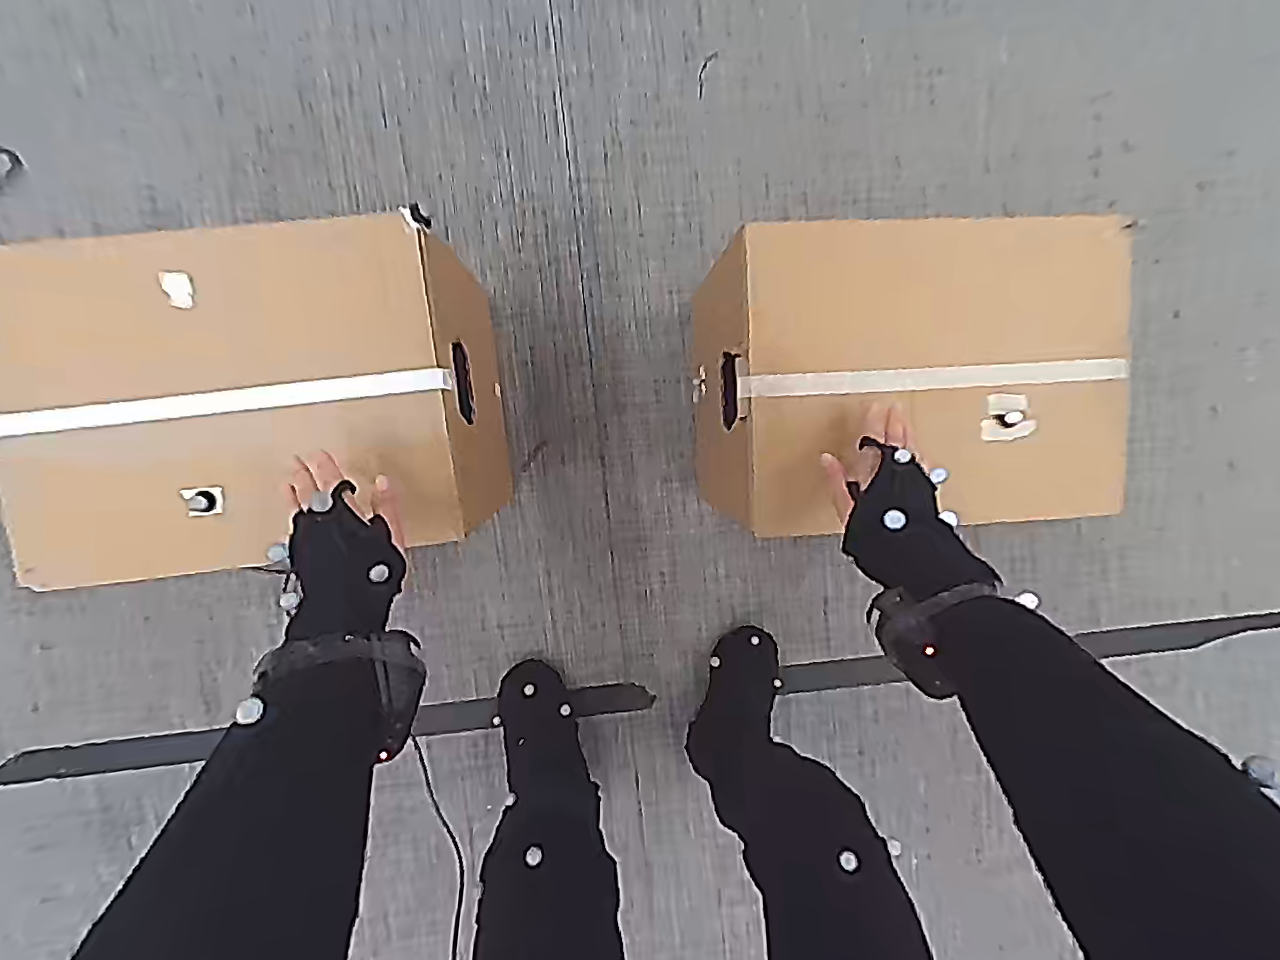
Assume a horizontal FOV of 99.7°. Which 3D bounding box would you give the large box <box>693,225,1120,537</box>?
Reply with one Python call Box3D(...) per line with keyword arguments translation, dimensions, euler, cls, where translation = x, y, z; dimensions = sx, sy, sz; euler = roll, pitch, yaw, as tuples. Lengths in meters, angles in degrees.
Box3D(translation=(0.299, -0.116, 0.714), dimensions=(0.408, 0.320, 0.320), euler=(-3, 95, -5), cls="large box")
